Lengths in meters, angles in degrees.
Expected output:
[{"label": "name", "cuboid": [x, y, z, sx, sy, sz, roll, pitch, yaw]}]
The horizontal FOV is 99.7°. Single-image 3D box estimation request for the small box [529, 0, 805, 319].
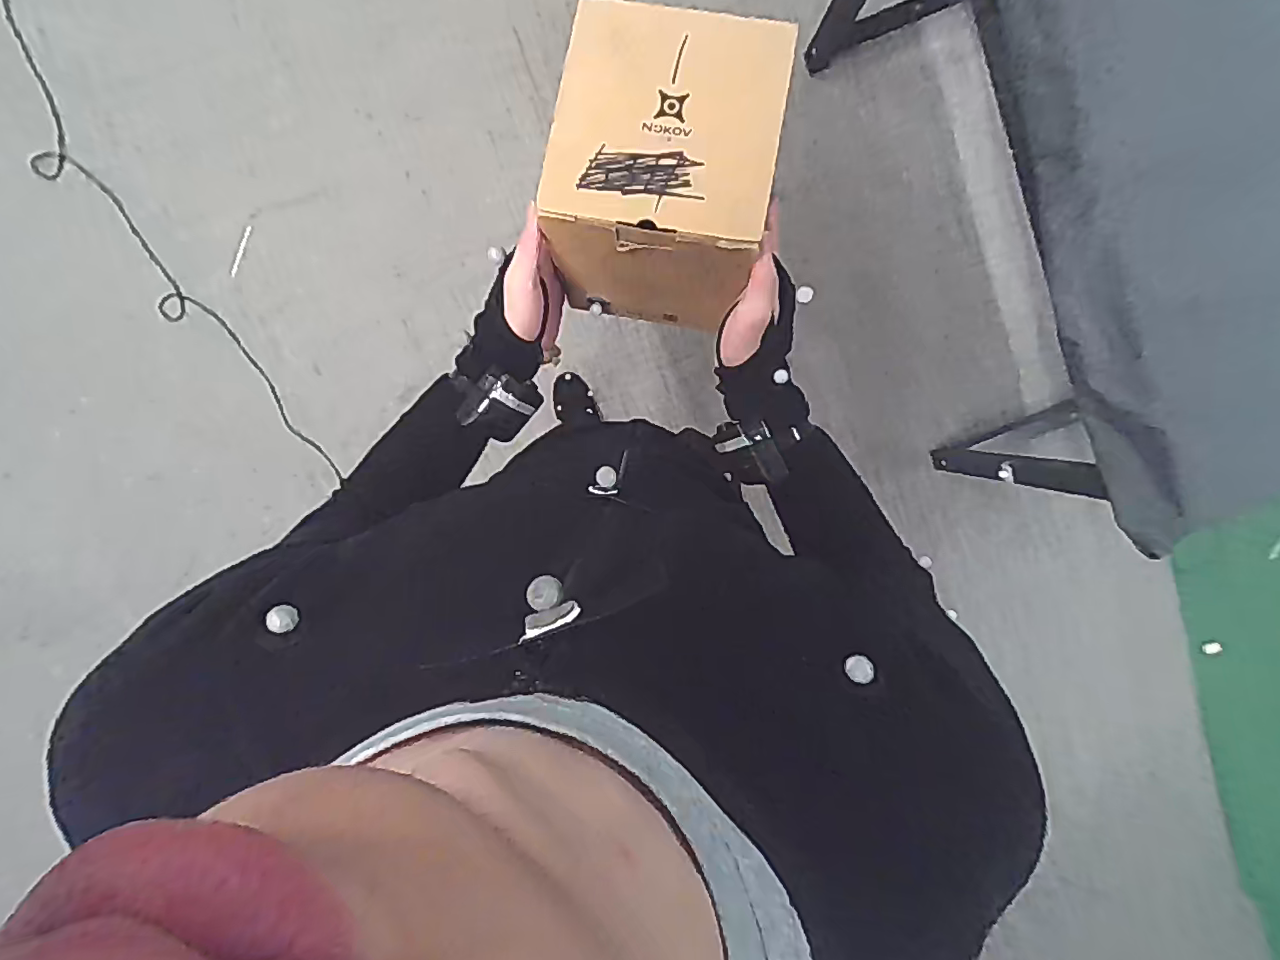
[{"label": "small box", "cuboid": [0.023, -0.255, 0.454, 0.168, 0.176, 0.179, 11, 86, 3]}]
